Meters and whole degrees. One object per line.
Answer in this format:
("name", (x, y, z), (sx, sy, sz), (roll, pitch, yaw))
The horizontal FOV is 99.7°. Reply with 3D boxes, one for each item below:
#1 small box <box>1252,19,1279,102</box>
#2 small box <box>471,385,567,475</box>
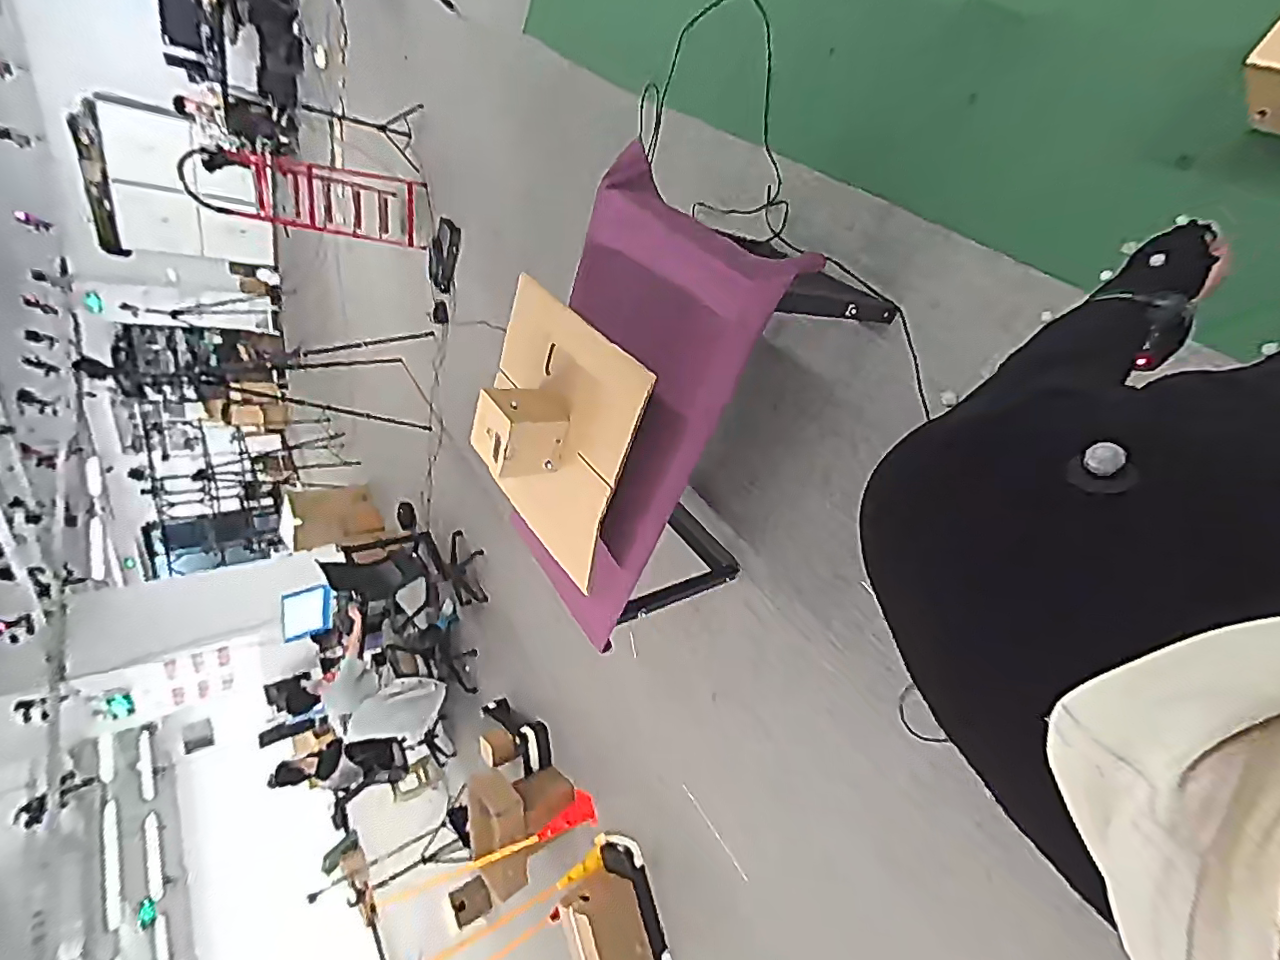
("small box", (1.083, -0.678, 0.804), (0.168, 0.176, 0.179), (52, 132, 31))
("small box", (-0.313, -0.135, 1.399), (0.179, 0.176, 0.168), (45, 127, 35))
